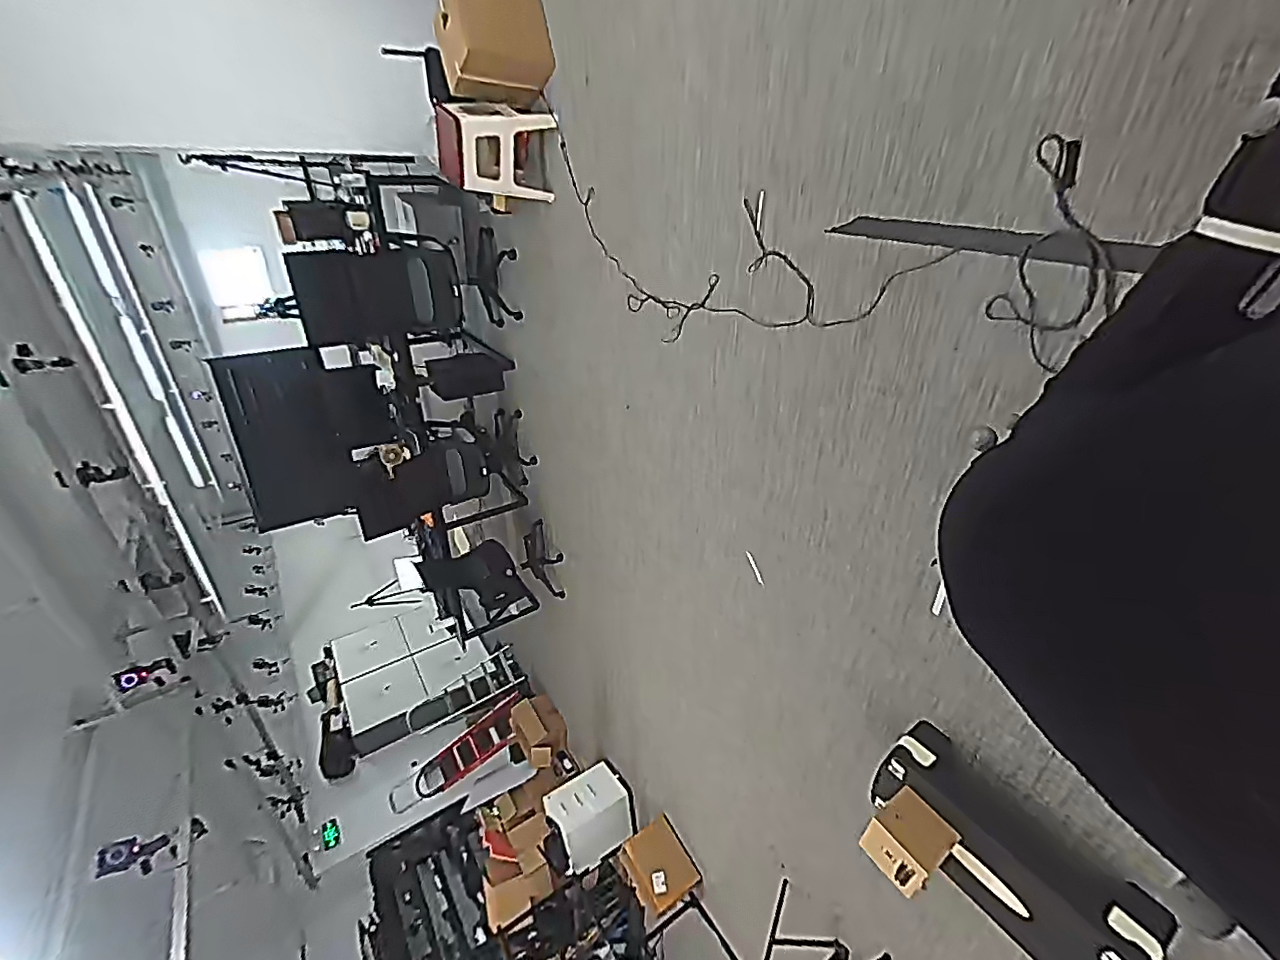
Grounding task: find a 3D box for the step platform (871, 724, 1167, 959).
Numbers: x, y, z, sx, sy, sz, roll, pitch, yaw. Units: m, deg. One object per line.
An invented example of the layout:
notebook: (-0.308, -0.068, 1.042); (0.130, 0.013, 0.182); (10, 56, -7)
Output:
step platform: (1.012, 1.062, 1.547); (0.684, 0.204, 0.286); (36, 135, 45)
